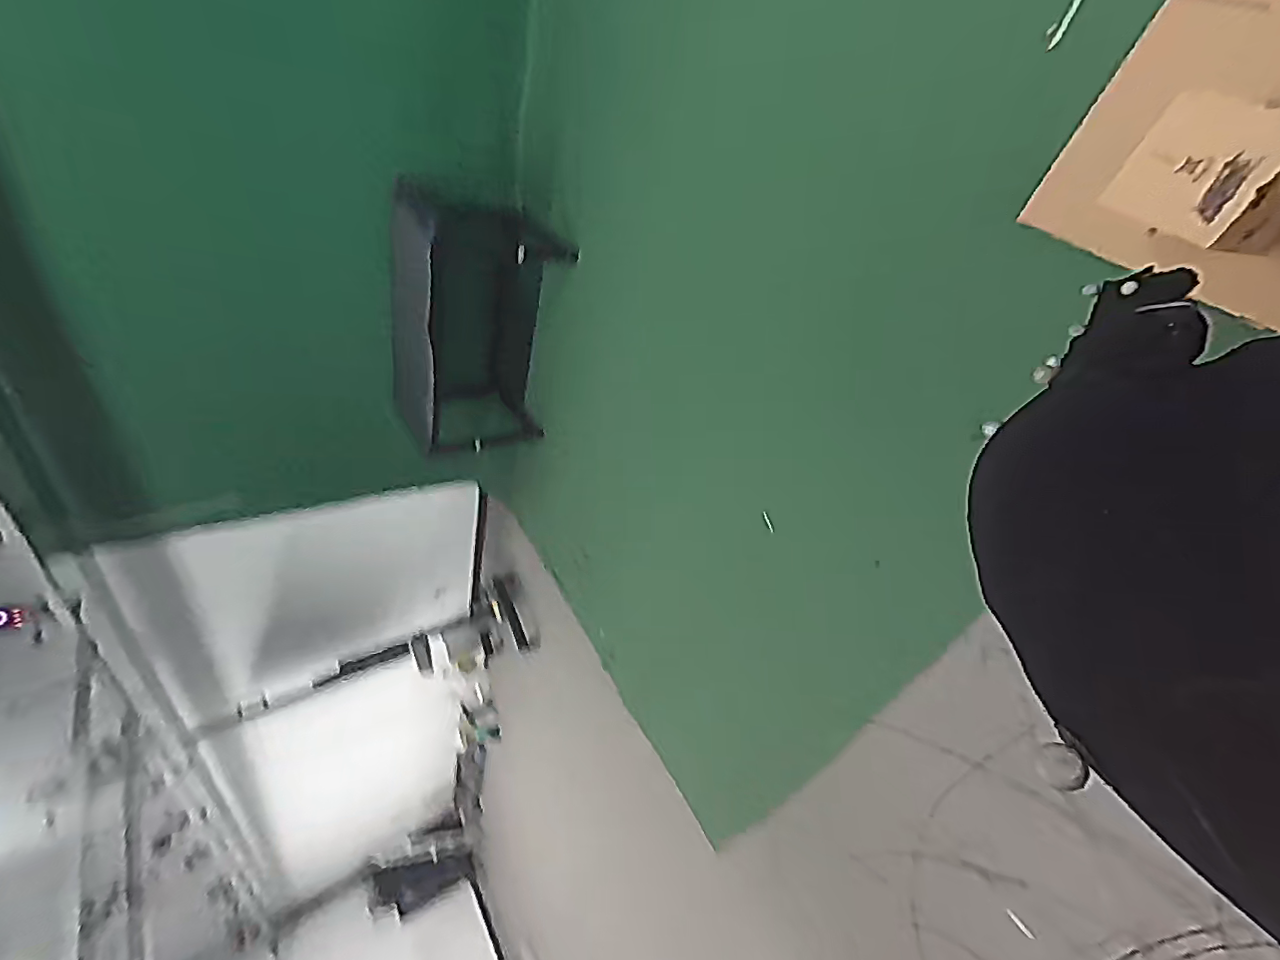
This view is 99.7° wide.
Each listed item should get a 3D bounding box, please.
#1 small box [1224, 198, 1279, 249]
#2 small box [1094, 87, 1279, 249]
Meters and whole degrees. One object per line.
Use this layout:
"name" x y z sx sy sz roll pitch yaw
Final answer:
"small box" 1.003 -0.501 0.915 0.179 0.176 0.168 49 139 34
"small box" 0.869 -0.469 0.825 0.179 0.176 0.168 52 139 33
